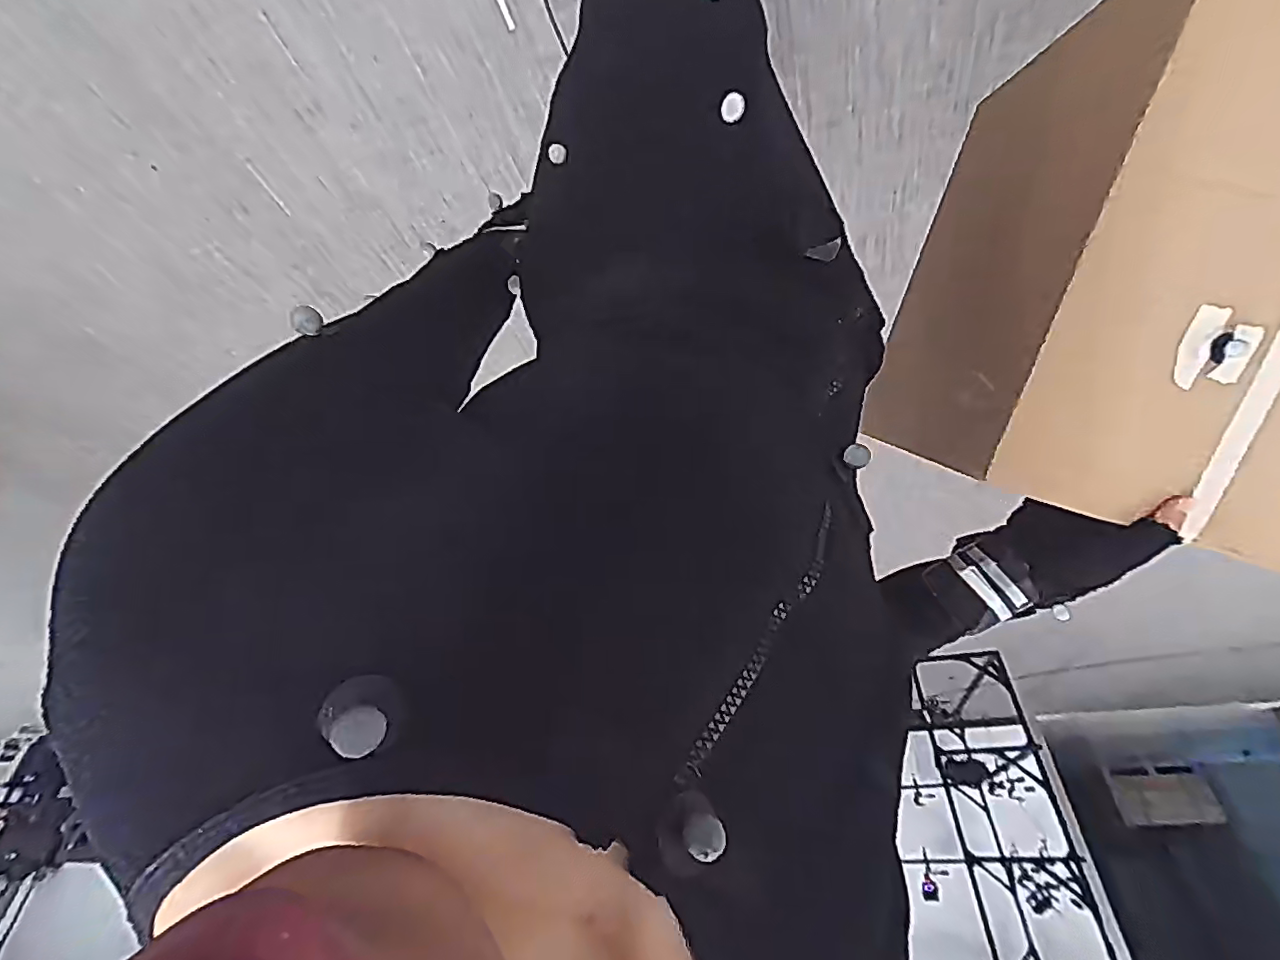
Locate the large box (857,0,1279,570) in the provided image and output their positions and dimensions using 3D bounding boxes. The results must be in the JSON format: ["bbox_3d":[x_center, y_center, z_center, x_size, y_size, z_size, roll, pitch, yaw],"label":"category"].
[{"bbox_3d":[0.472,-0.179,0.531,0.320,0.320,0.408,16,104,0],"label":"large box"}]
